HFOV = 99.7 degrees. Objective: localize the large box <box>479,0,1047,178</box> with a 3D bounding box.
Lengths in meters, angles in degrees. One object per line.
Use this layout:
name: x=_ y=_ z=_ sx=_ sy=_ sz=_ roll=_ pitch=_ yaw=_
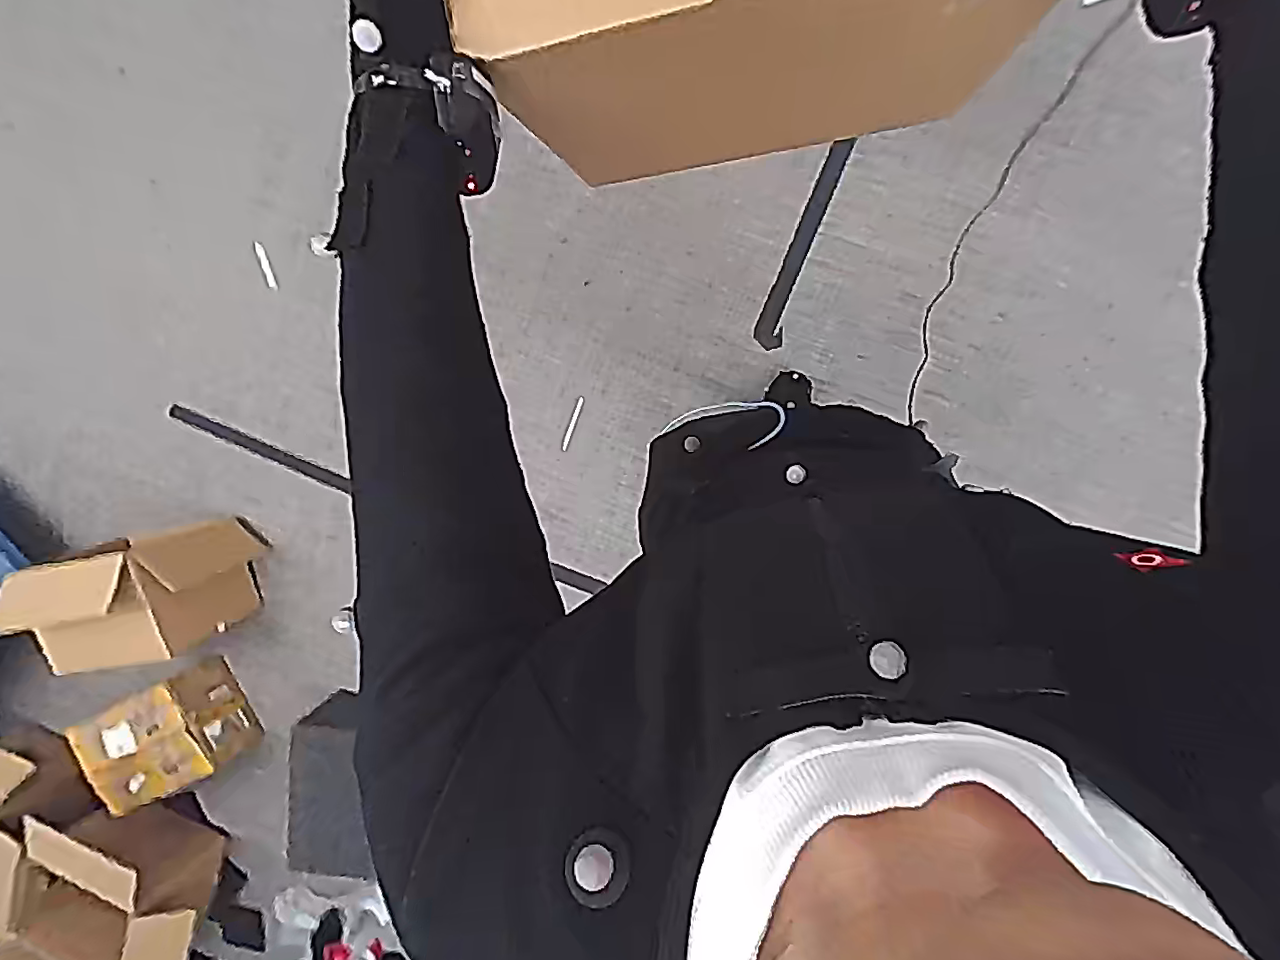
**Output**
large box: x=0.096 y=-0.486 z=0.433 sx=0.408 sy=0.320 sz=0.320 roll=-4 pitch=104 yaw=12
